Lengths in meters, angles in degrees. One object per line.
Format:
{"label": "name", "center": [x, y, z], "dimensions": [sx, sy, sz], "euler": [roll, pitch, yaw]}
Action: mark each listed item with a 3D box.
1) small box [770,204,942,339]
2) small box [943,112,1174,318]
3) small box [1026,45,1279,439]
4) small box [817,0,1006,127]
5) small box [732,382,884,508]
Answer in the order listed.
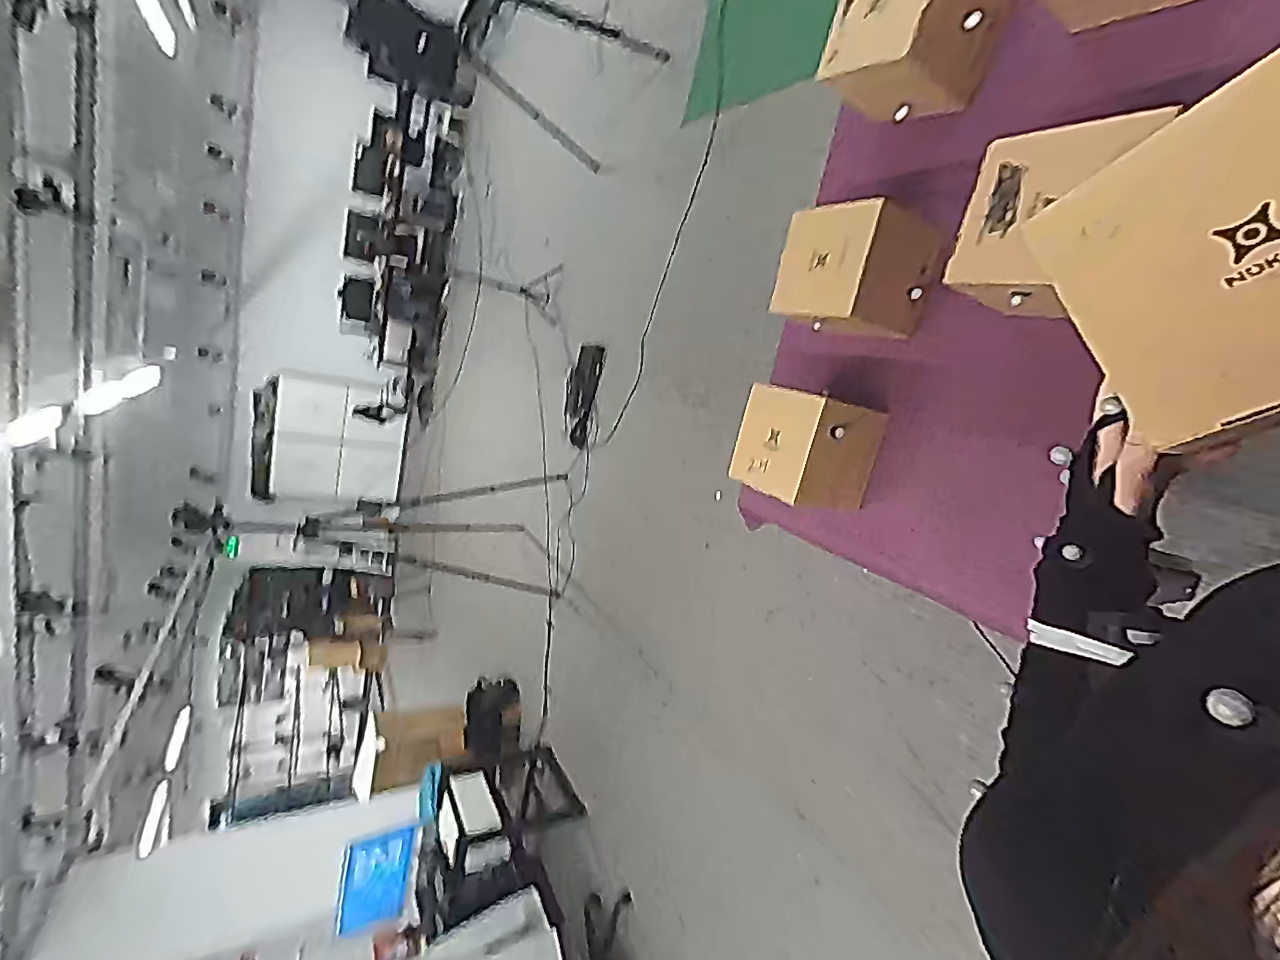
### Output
{"label": "small box", "center": [0.355, -0.337, 0.901], "dimensions": [0.179, 0.176, 0.168], "euler": [30, 111, 54]}
{"label": "small box", "center": [0.512, -0.293, 0.642], "dimensions": [0.179, 0.176, 0.168], "euler": [32, 113, 54]}
{"label": "small box", "center": [0.397, -0.136, 0.348], "dimensions": [0.168, 0.176, 0.179], "euler": [-33, 67, 46]}
{"label": "small box", "center": [0.421, -0.683, 0.843], "dimensions": [0.179, 0.176, 0.168], "euler": [39, 117, 52]}
{"label": "small box", "center": [0.295, -0.060, 0.949], "dimensions": [0.168, 0.176, 0.179], "euler": [31, 111, 55]}
